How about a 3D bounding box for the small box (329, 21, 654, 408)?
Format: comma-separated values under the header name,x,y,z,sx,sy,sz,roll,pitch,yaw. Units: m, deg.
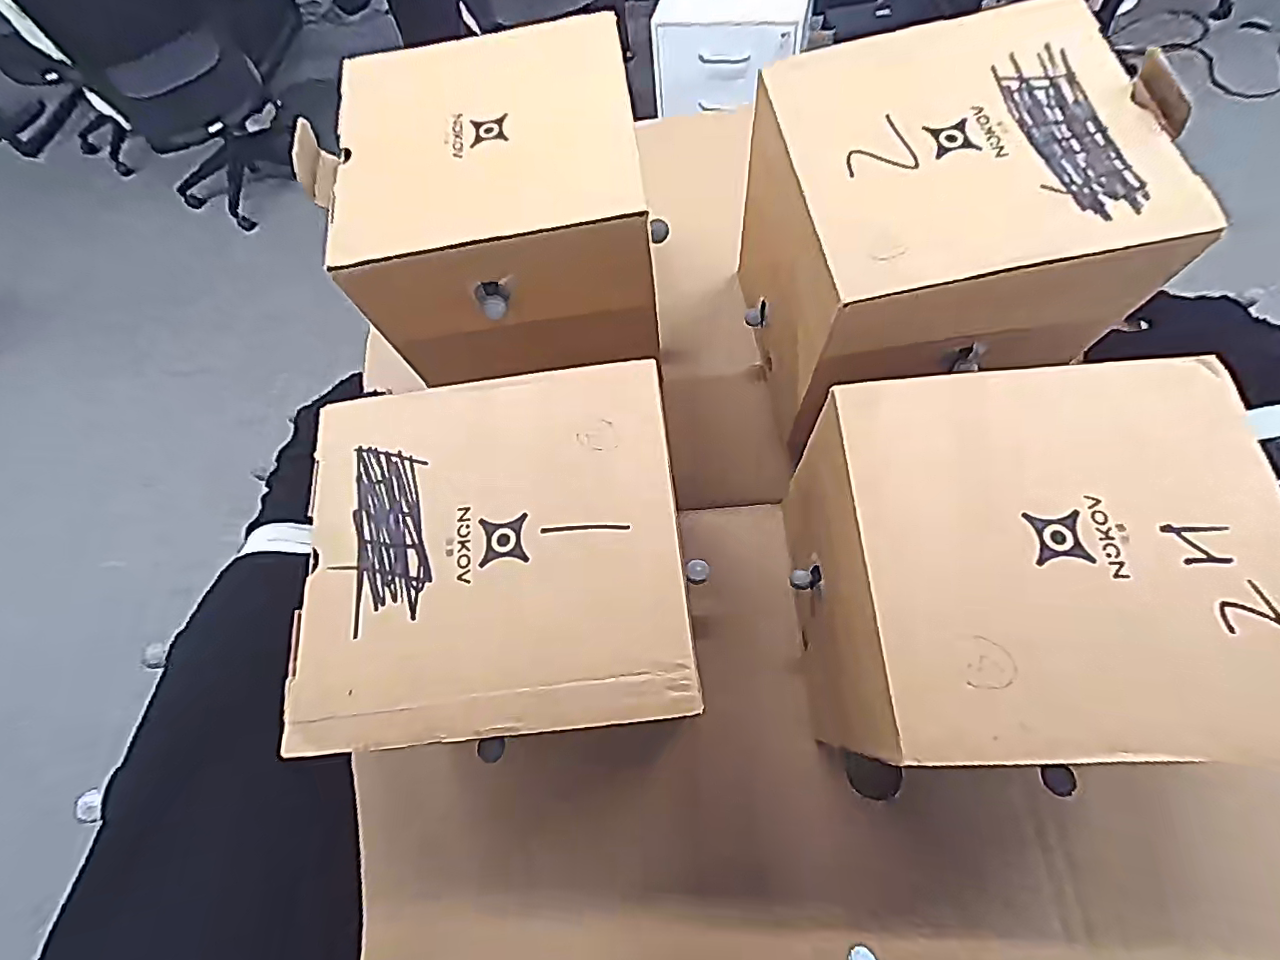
name,x,y,z,sx,sy,sz,roll,pitch,yaw
small box,-0.086,-0.171,0.391,0.179,0.176,0.168,-10,69,3
